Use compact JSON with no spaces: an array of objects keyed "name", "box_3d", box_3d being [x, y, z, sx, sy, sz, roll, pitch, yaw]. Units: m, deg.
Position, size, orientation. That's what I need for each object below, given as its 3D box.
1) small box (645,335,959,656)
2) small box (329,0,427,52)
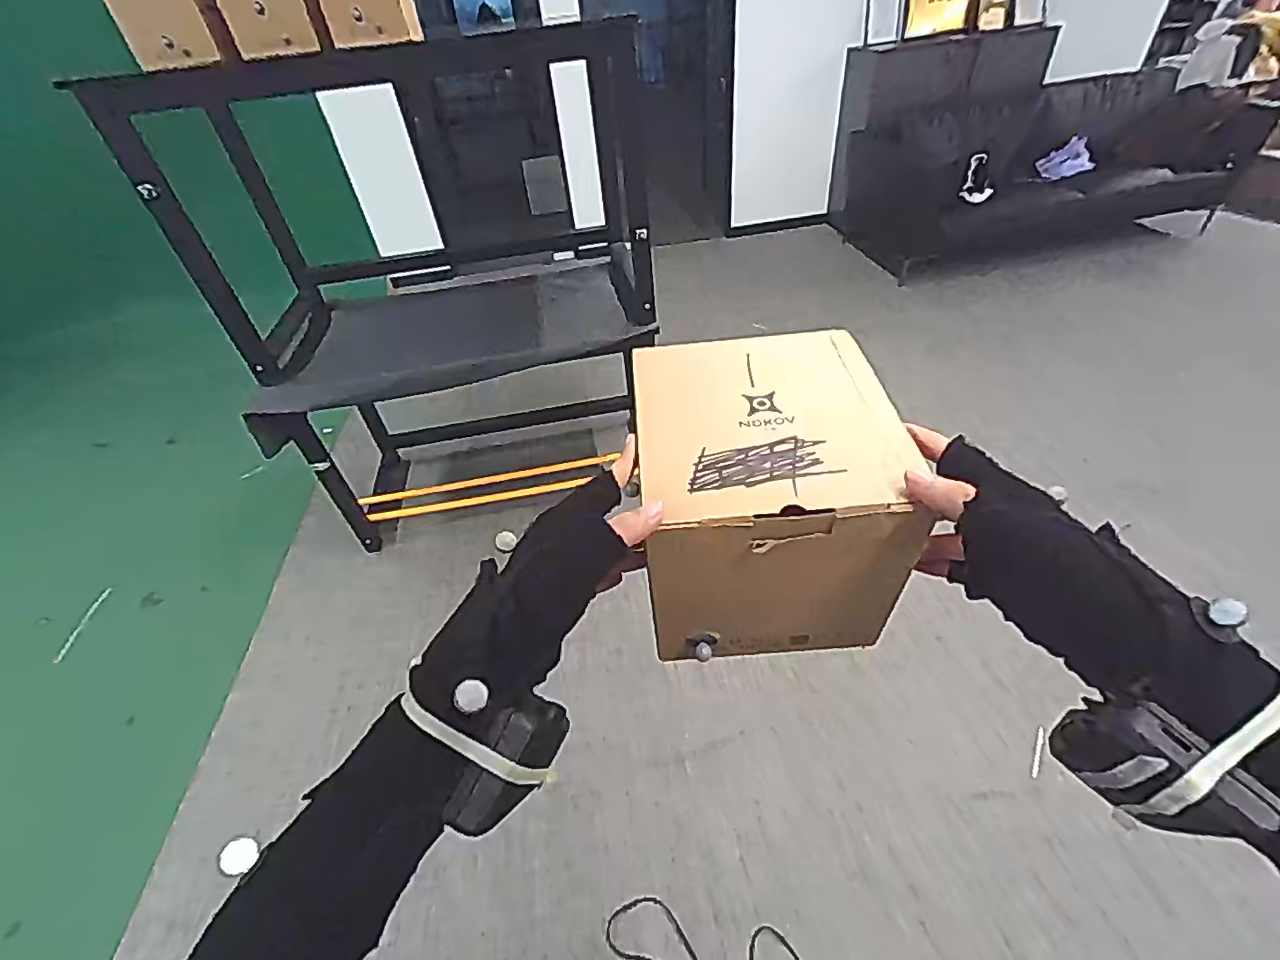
[{"name":"small box","box_3d":[0.093,0.017,0.402,0.168,0.176,0.179,-4,45,2]},{"name":"small box","box_3d":[-0.584,-1.059,1.192,0.168,0.176,0.179,-9,42,-4]}]
